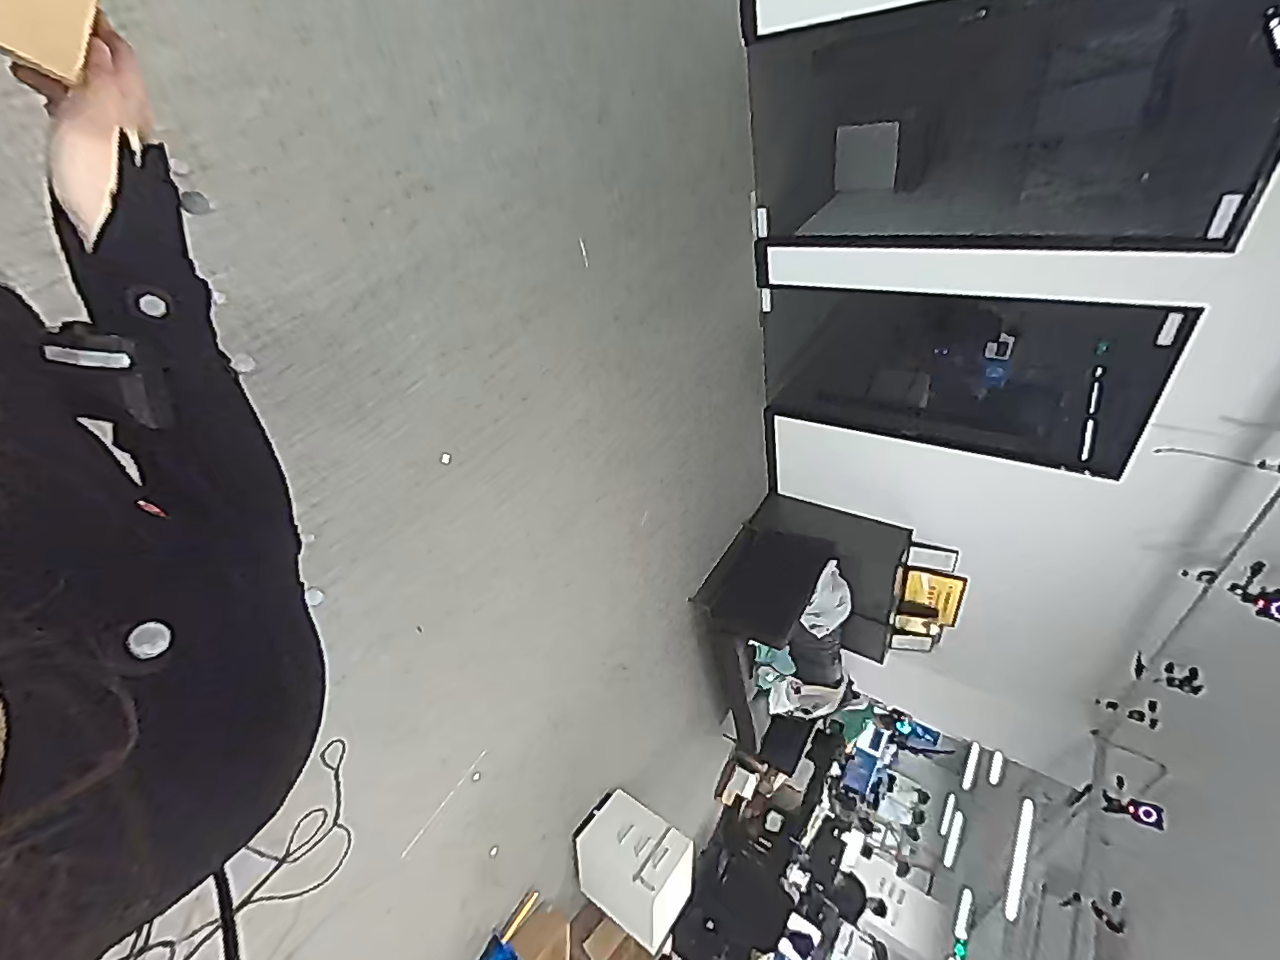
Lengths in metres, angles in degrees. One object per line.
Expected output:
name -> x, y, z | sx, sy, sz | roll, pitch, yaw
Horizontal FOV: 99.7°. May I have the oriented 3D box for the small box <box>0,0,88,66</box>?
small box -> -0.331, -0.315, 0.220 | 0.168, 0.176, 0.179 | 13, 107, -51
